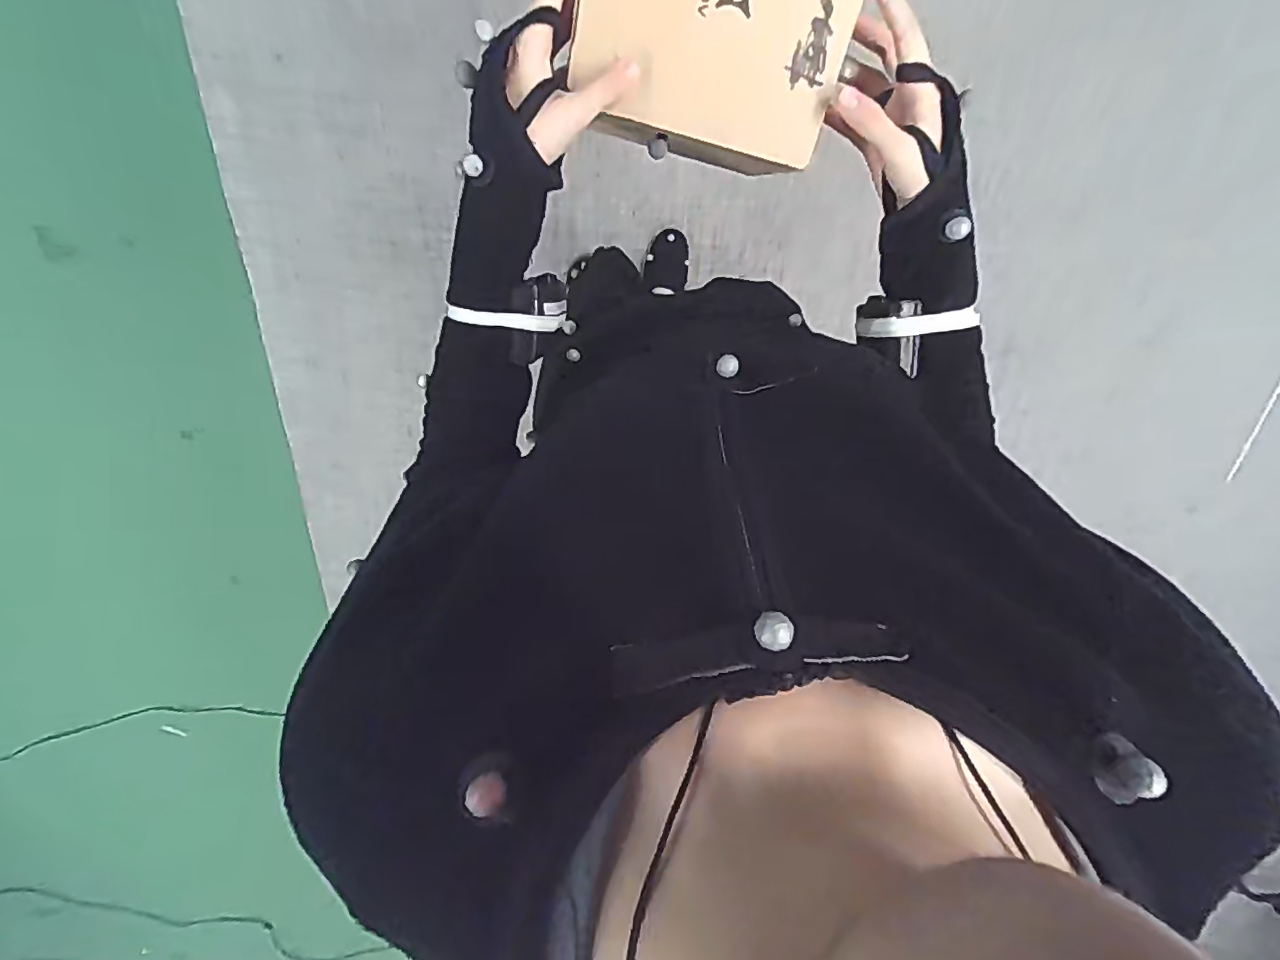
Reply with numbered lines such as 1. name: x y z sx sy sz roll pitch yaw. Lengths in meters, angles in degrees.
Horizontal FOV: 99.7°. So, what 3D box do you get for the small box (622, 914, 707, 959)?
1. small box: 0.051 1.102 1.199 0.179 0.176 0.168 4 115 -3
